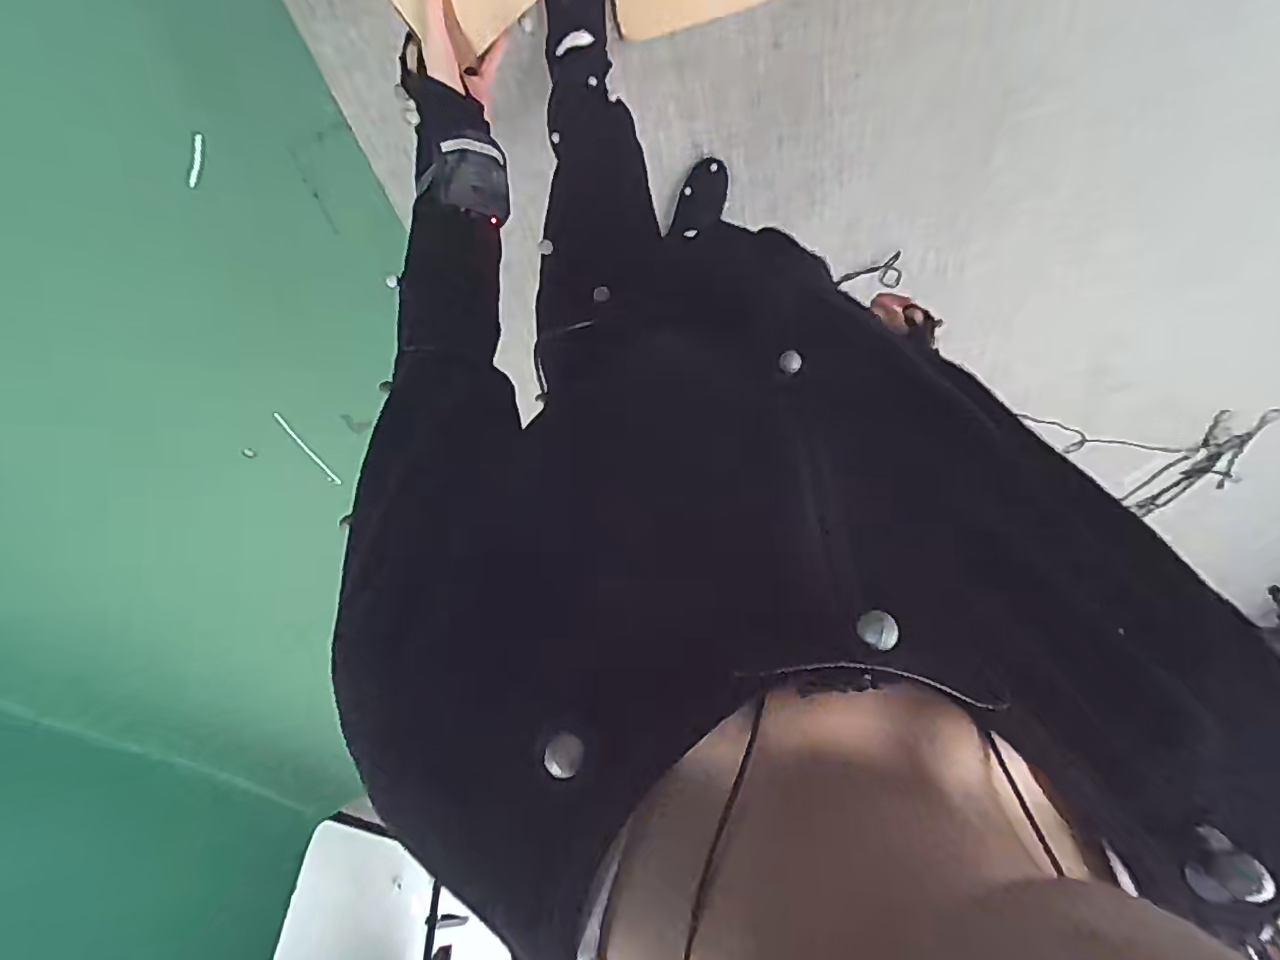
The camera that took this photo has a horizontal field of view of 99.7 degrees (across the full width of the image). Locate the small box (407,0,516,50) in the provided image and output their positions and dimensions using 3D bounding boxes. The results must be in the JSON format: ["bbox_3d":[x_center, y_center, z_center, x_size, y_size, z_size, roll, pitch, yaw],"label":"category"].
[{"bbox_3d":[-0.135,-0.504,0.438,0.179,0.176,0.168,-21,133,25],"label":"small box"}]
